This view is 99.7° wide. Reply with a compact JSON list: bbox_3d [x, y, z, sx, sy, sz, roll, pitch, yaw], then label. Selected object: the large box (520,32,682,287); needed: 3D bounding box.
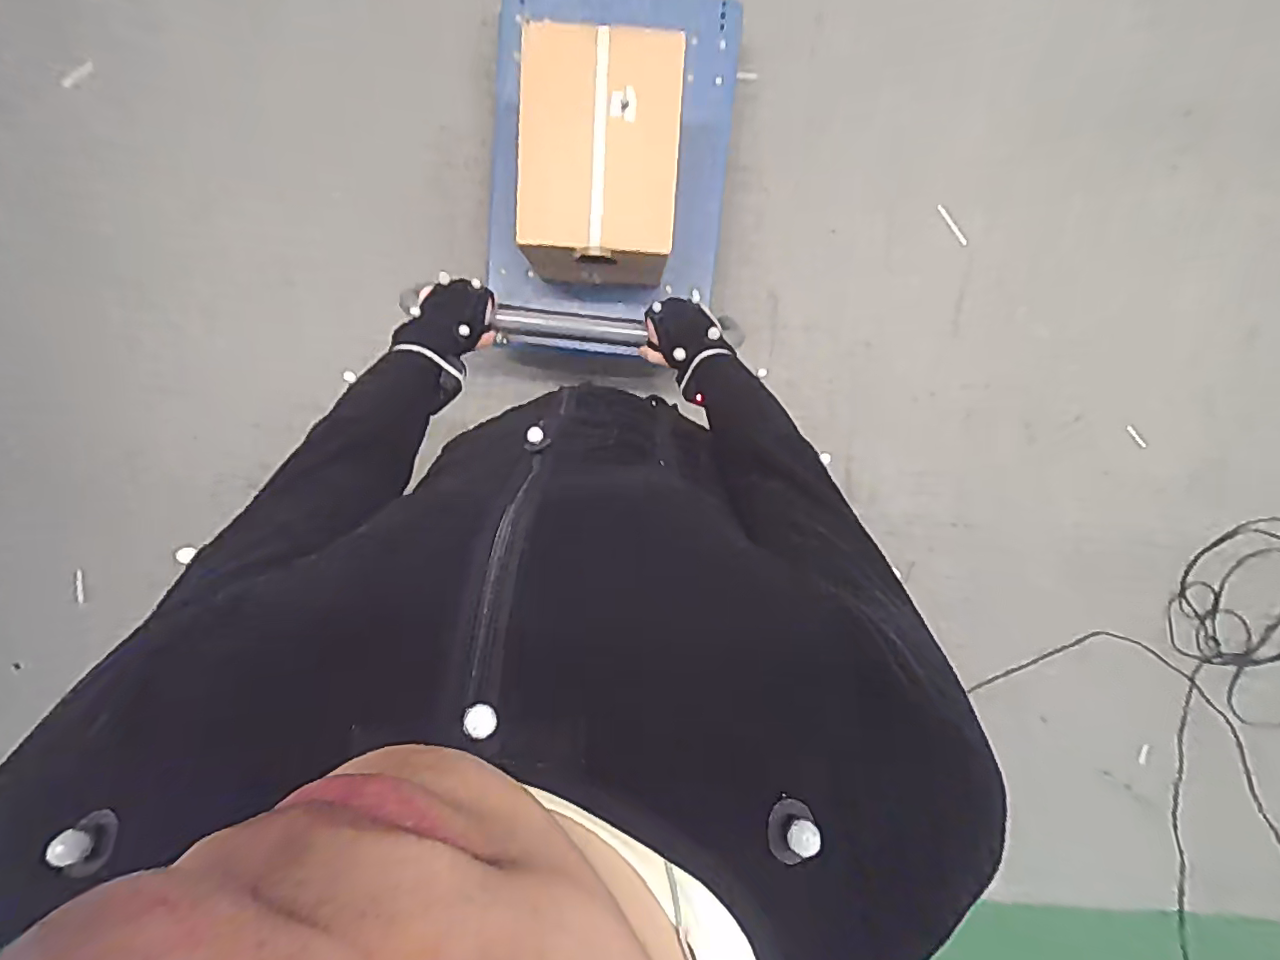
[{"bbox_3d":[-0.081,-0.674,1.211,0.320,0.320,0.408,3,98,-2],"label":"large box"}]
